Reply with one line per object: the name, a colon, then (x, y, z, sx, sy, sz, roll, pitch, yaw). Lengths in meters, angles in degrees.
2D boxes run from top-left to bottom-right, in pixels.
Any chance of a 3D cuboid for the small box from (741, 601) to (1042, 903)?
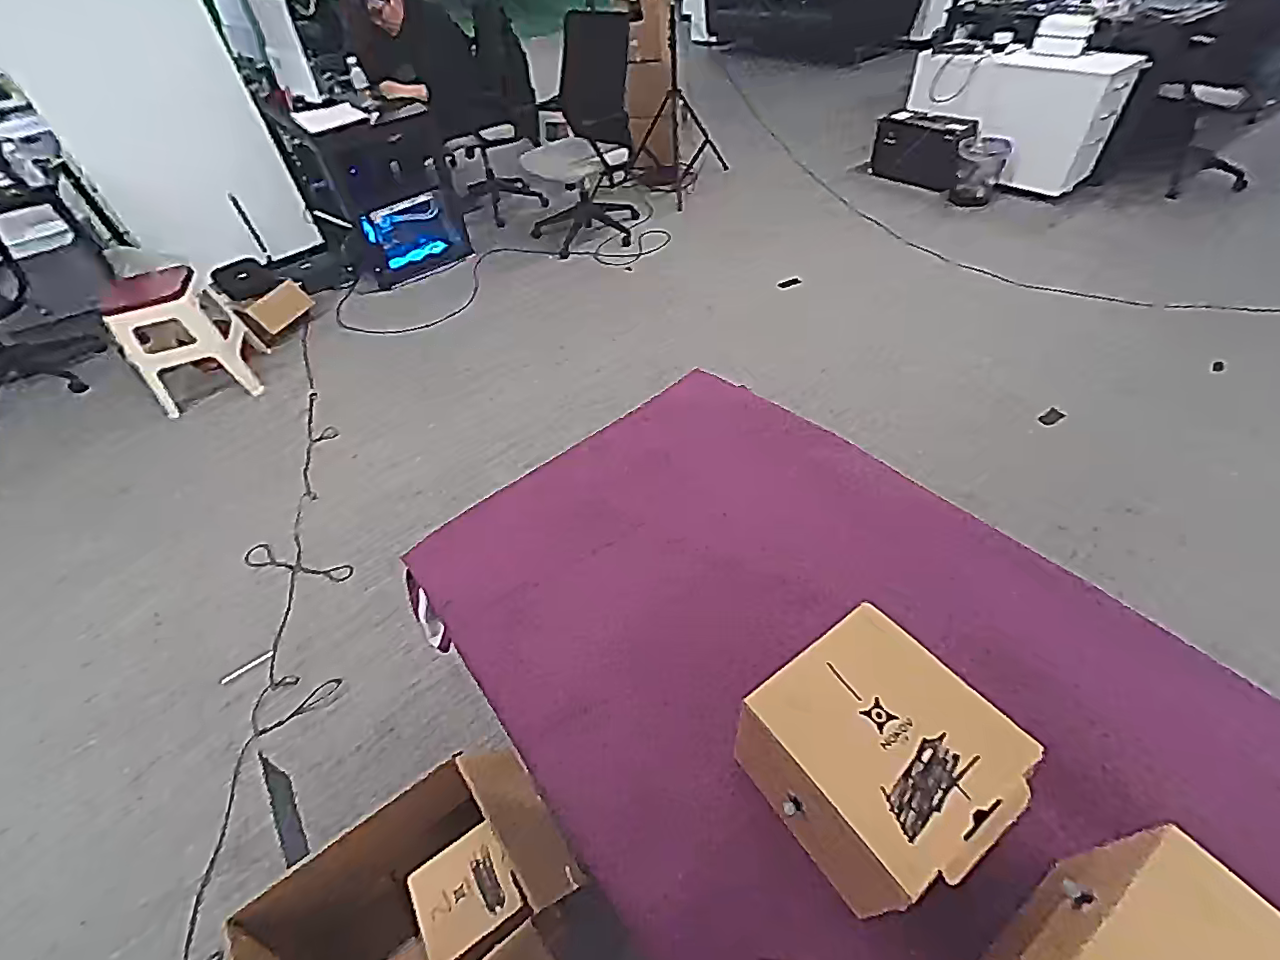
small box: (0.213, 0.257, 0.510, 0.168, 0.176, 0.179, -30, 50, -19)
